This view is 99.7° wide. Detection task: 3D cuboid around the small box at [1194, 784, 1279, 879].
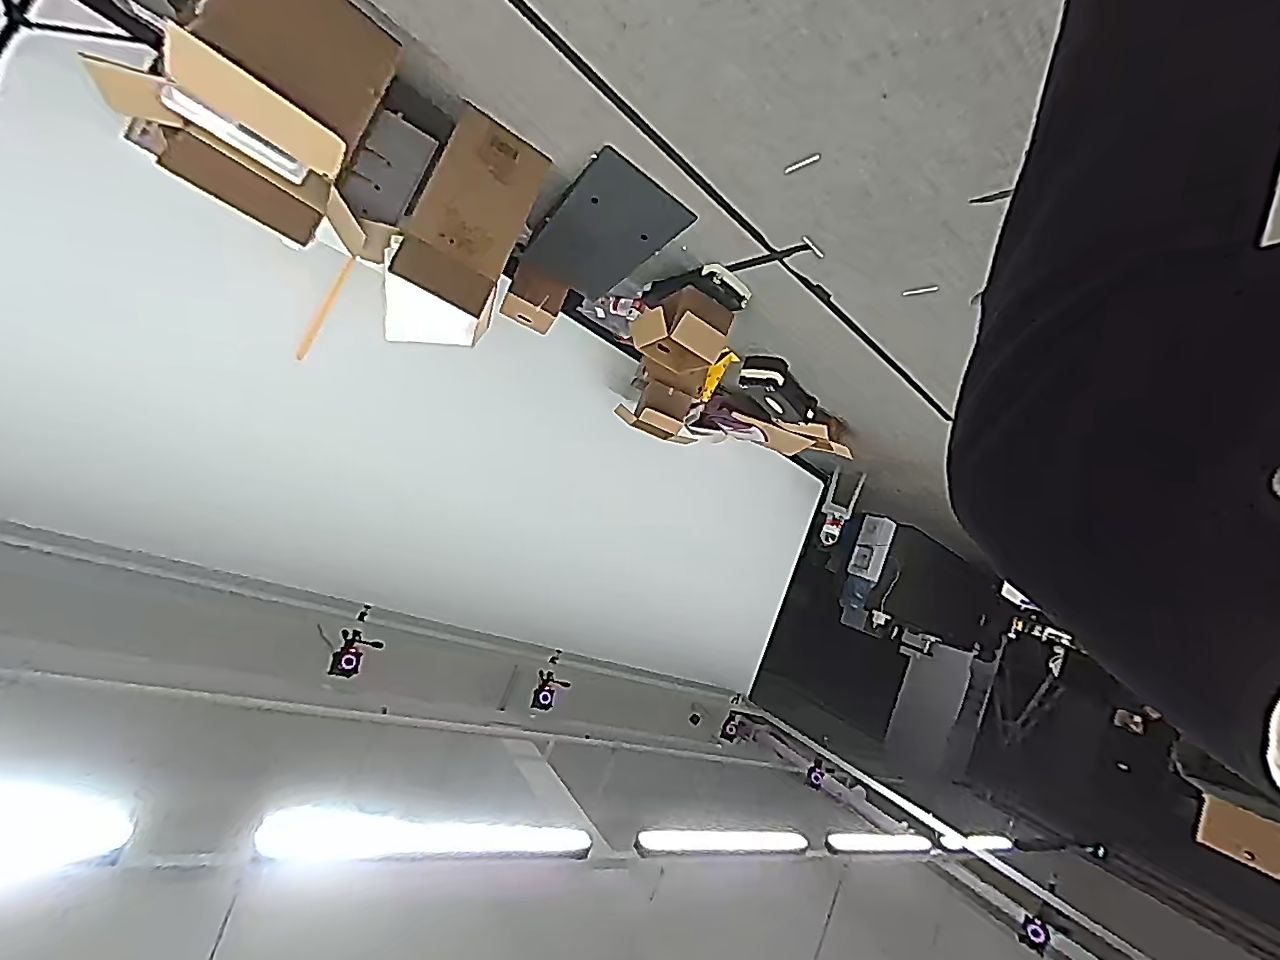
[{"bbox_3d":[1.740,1.000,1.555,0.179,0.176,0.168,25,172,-35],"label":"small box"}]
